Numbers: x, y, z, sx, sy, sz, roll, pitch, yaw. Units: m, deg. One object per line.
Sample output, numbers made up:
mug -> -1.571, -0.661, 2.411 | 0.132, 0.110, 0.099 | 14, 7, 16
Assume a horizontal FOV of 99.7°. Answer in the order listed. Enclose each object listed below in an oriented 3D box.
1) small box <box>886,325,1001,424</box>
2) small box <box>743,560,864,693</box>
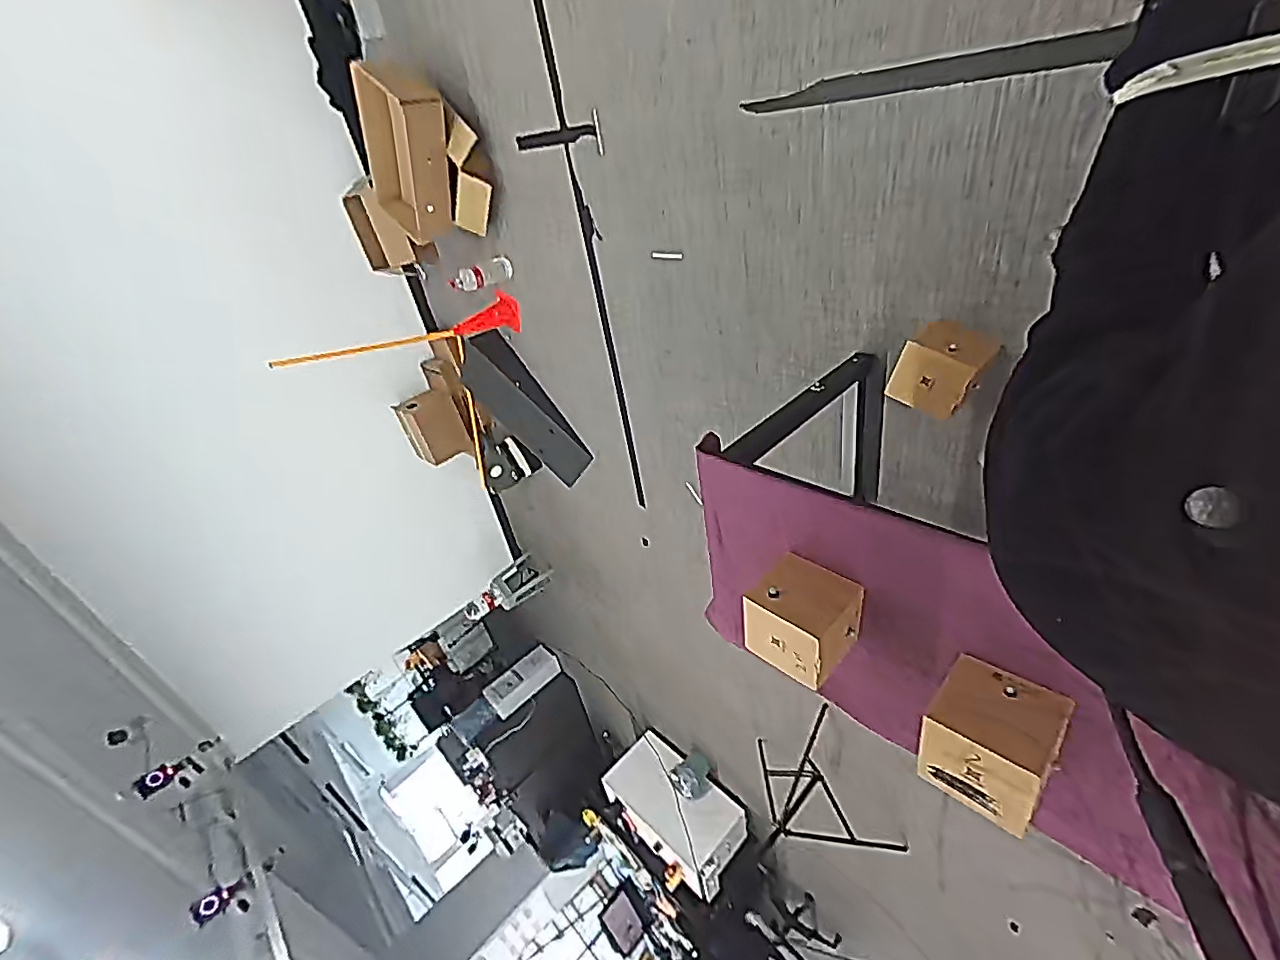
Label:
small box -> 0.779, -0.279, 1.393 | 0.179, 0.176, 0.168 | 36, 143, 28
small box -> 0.333, 0.291, 1.117 | 0.179, 0.176, 0.168 | 25, 138, 40
